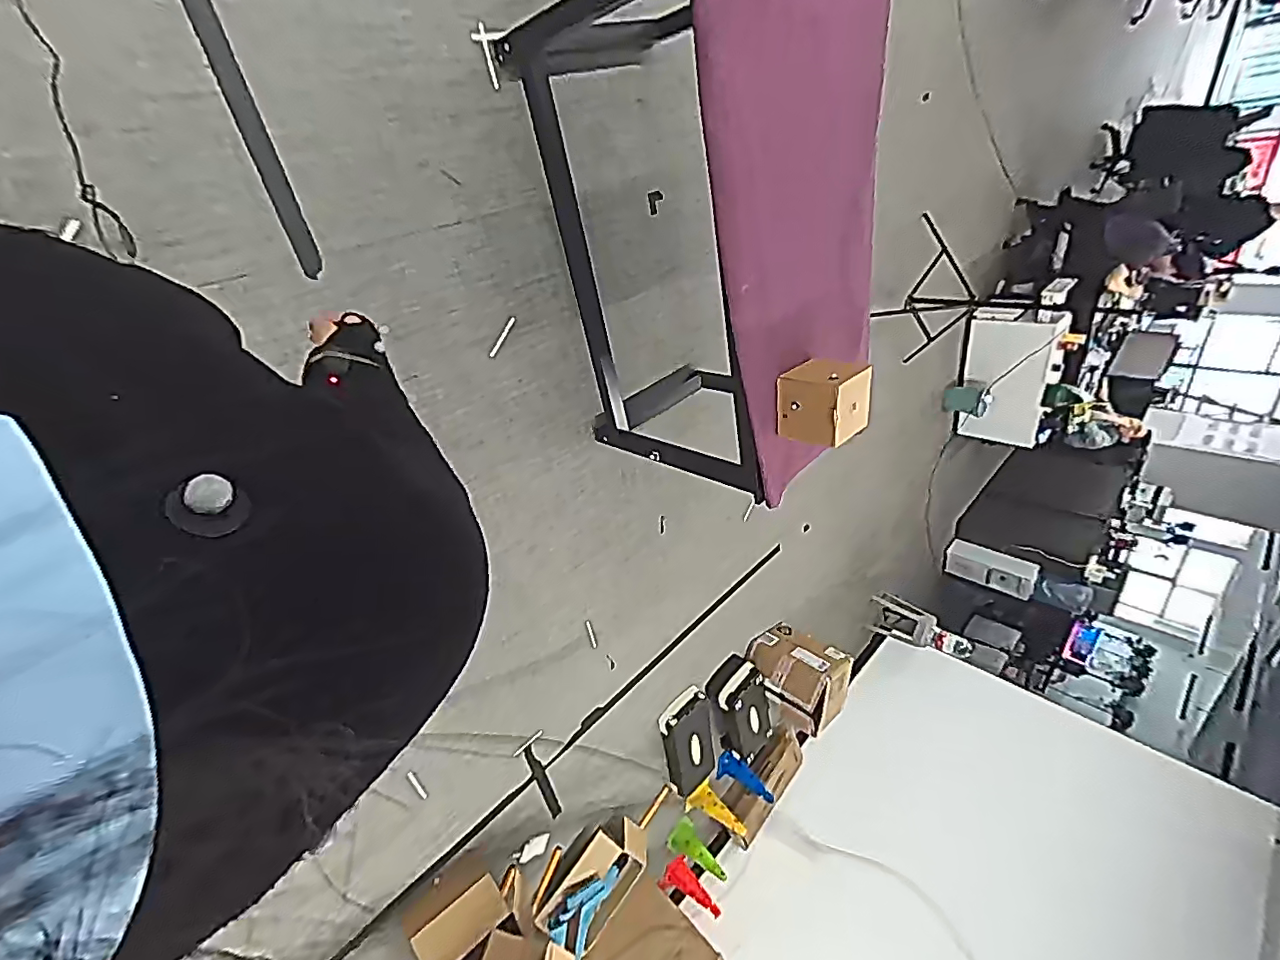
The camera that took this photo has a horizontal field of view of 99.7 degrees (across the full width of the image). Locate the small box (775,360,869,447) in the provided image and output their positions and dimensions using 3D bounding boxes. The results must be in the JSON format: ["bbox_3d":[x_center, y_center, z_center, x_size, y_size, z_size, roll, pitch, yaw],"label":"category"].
[{"bbox_3d":[0.471,-0.207,1.408,0.179,0.176,0.168,-30,125,-35],"label":"small box"}]
